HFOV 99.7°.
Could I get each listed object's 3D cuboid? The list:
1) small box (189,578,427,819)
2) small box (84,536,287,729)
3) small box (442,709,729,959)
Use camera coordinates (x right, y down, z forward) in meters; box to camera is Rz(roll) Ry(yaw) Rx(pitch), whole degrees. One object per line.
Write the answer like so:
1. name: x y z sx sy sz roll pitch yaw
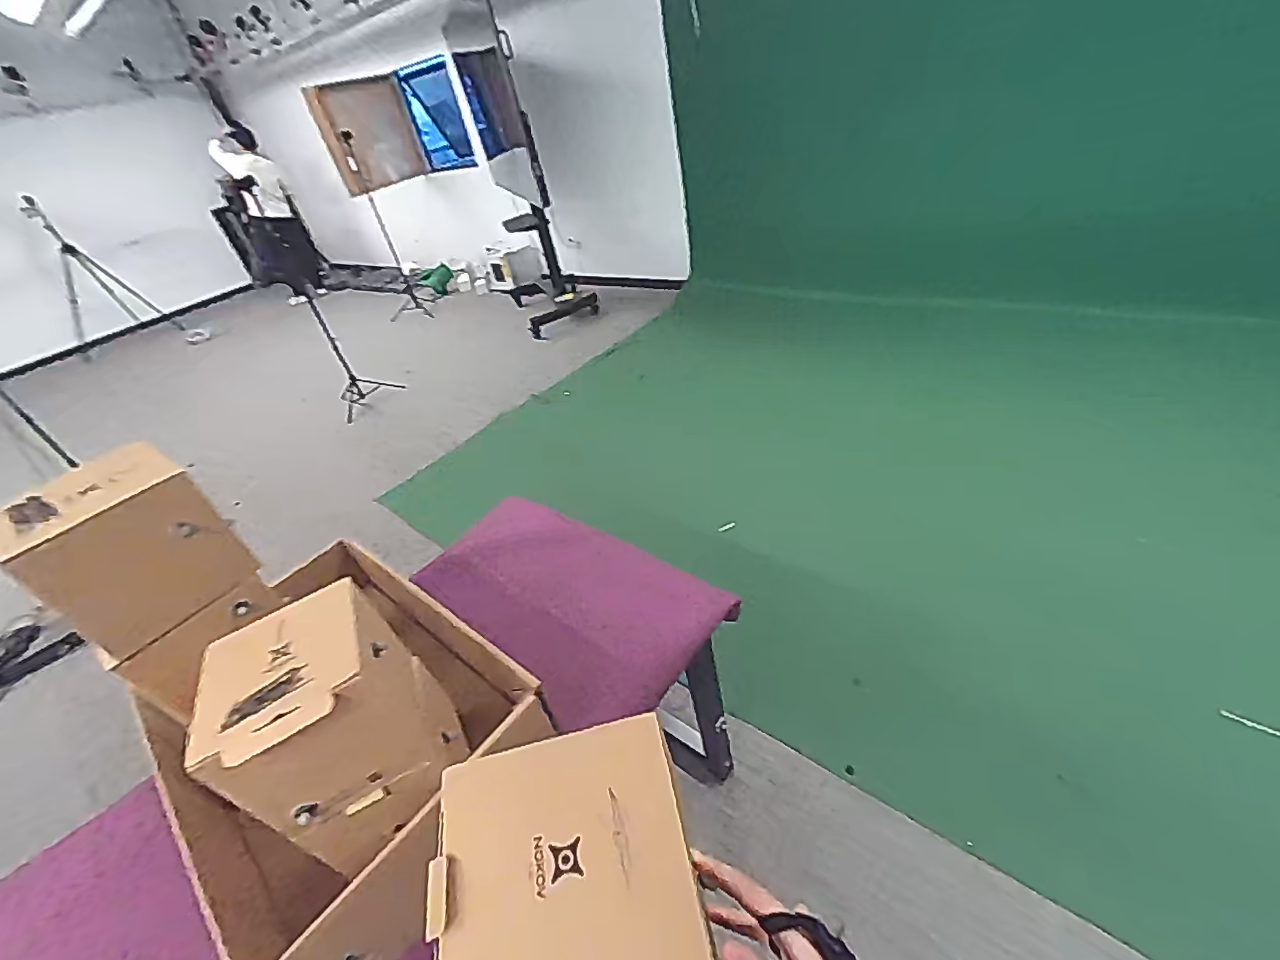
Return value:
1. small box: -0.371 0.257 0.632 0.168 0.176 0.179 -28 37 -16
2. small box: -0.614 0.217 0.771 0.168 0.176 0.179 19 47 34
3. small box: -0.037 0.311 0.428 0.179 0.176 0.168 -14 47 -2
